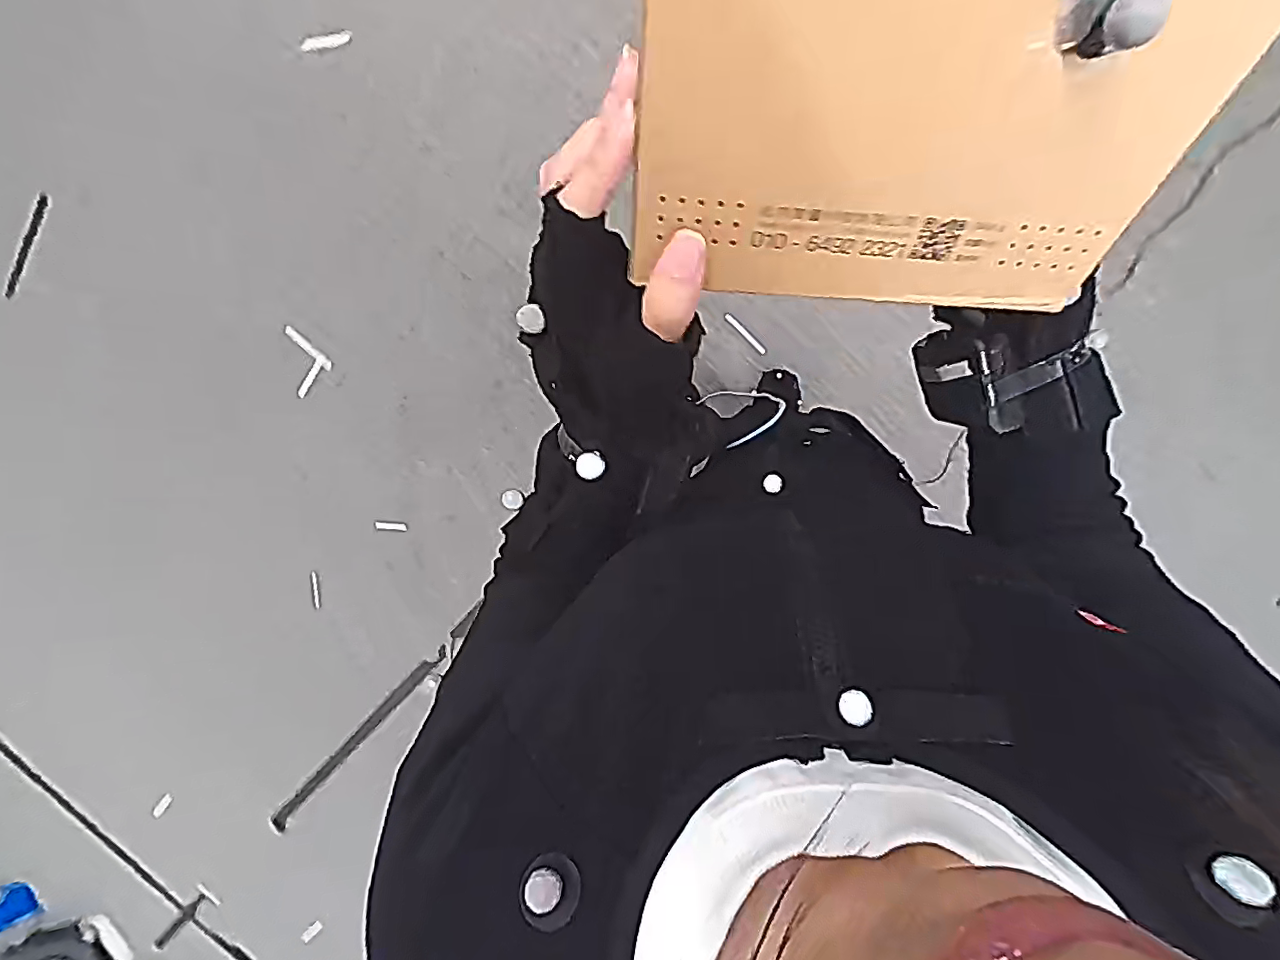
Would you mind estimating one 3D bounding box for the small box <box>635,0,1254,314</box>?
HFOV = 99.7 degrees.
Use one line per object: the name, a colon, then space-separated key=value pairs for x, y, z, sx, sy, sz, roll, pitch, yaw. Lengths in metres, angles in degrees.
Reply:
small box: x=0.086 y=-0.181 z=0.199 sx=0.168 sy=0.179 sz=0.176 roll=2 pitch=142 yaw=-2
